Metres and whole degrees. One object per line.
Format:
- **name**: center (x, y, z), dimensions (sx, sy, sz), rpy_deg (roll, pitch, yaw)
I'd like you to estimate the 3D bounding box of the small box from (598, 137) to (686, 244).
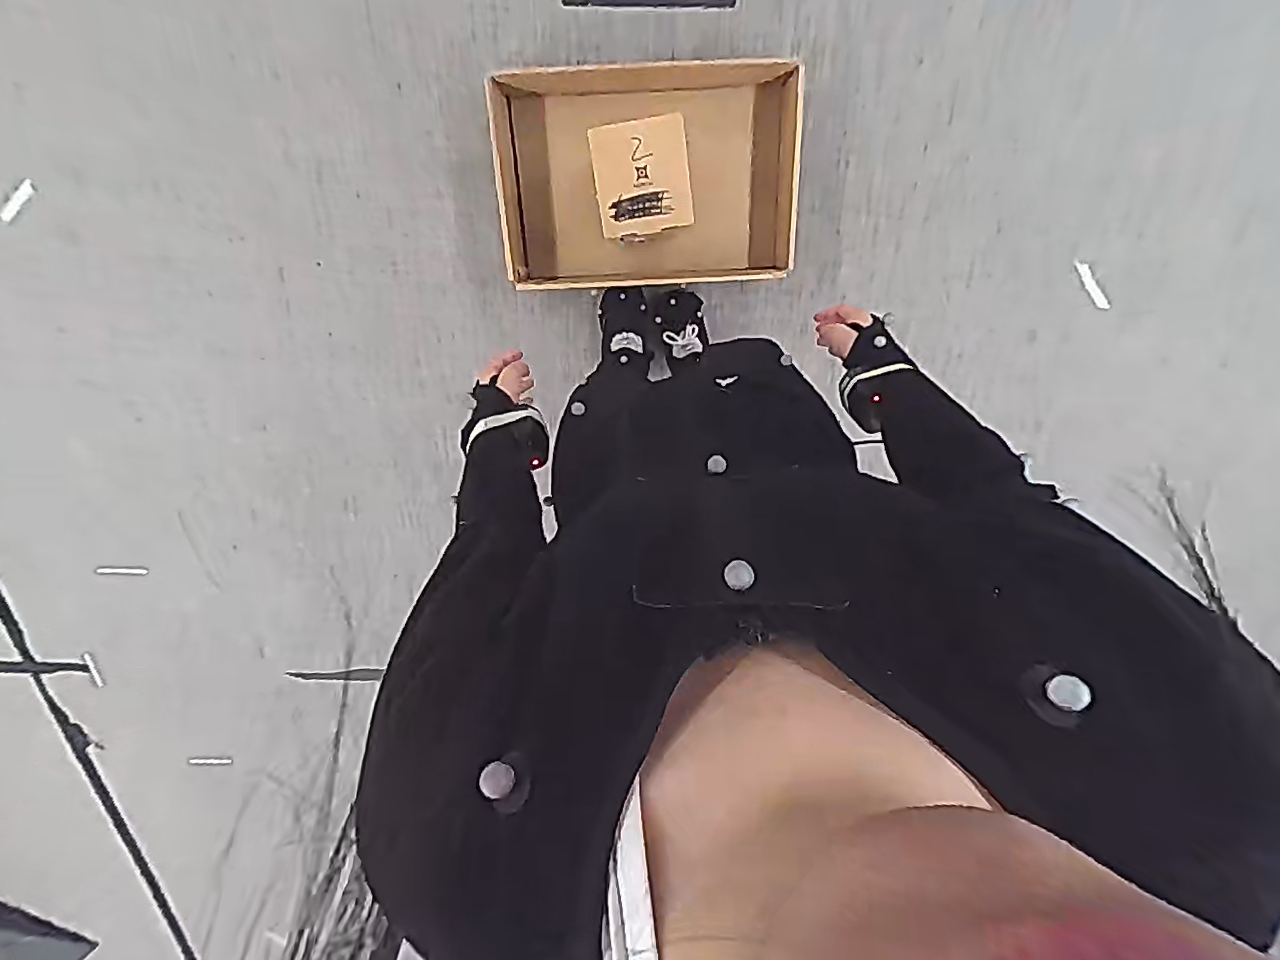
- **small box**: center (0.004, -0.615, 1.168), dimensions (0.168, 0.176, 0.179), rpy_deg (-7, 113, 3)
